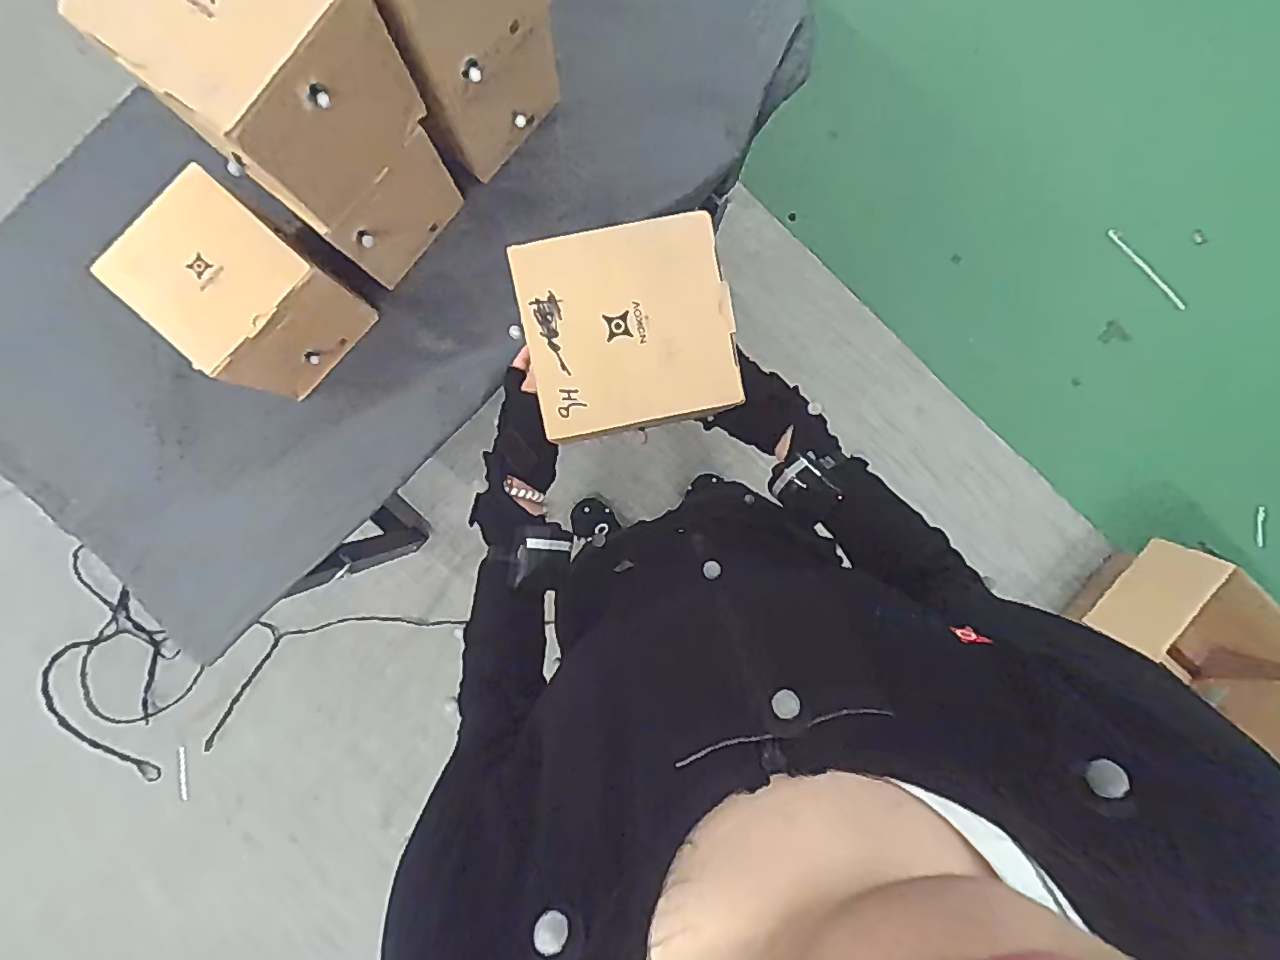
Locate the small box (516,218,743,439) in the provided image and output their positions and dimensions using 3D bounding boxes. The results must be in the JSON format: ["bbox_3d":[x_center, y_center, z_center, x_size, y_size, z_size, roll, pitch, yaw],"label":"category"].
[{"bbox_3d":[-0.013,-0.136,0.544,0.179,0.176,0.168,-11,93,-3],"label":"small box"}]
